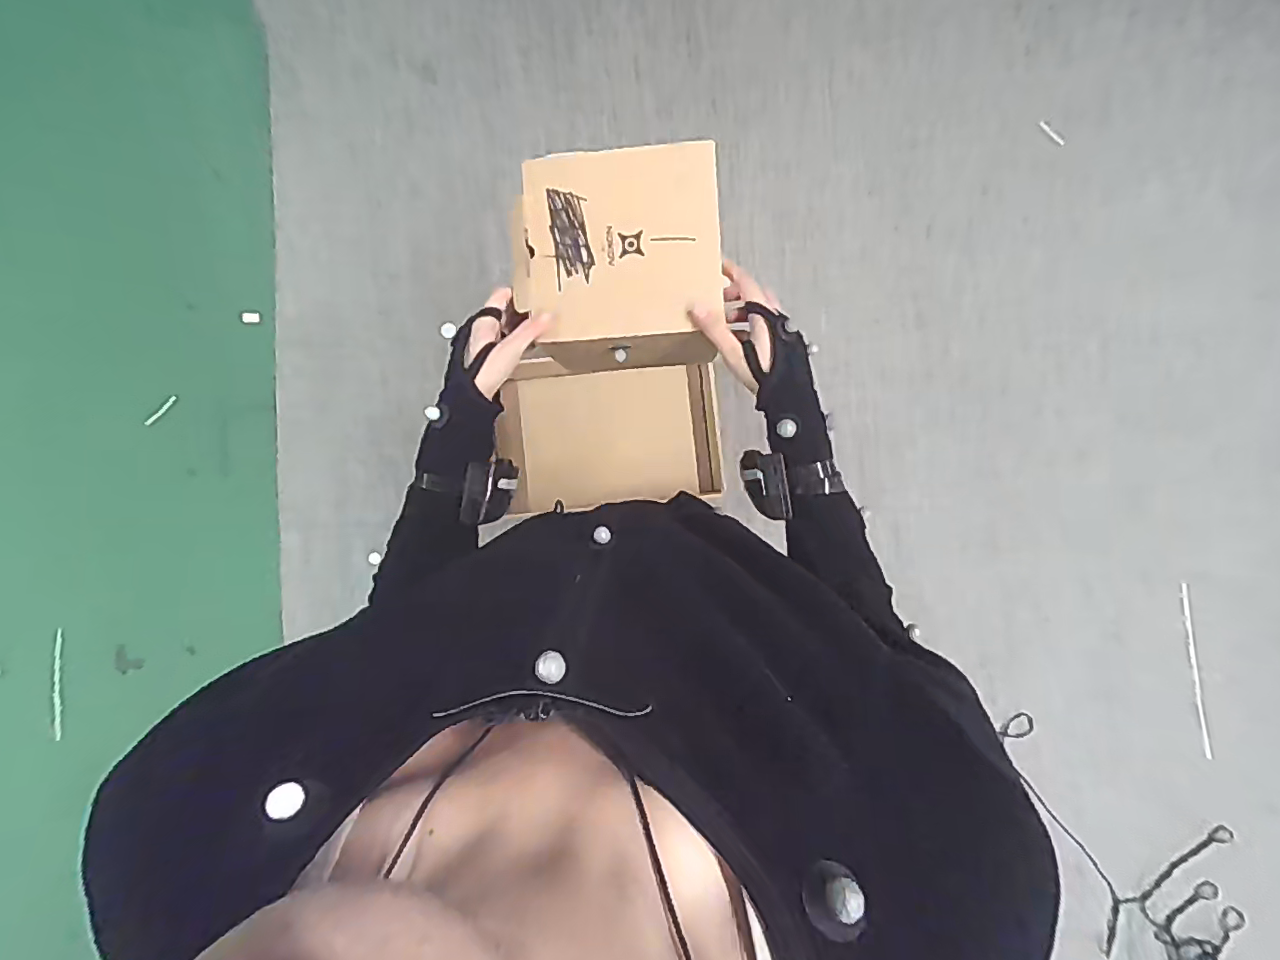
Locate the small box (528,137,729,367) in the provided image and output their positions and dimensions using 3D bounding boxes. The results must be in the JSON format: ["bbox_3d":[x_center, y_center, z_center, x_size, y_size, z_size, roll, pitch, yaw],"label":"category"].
[{"bbox_3d":[-0.003,-0.215,0.559,0.179,0.176,0.168,-3,93,5],"label":"small box"}]
